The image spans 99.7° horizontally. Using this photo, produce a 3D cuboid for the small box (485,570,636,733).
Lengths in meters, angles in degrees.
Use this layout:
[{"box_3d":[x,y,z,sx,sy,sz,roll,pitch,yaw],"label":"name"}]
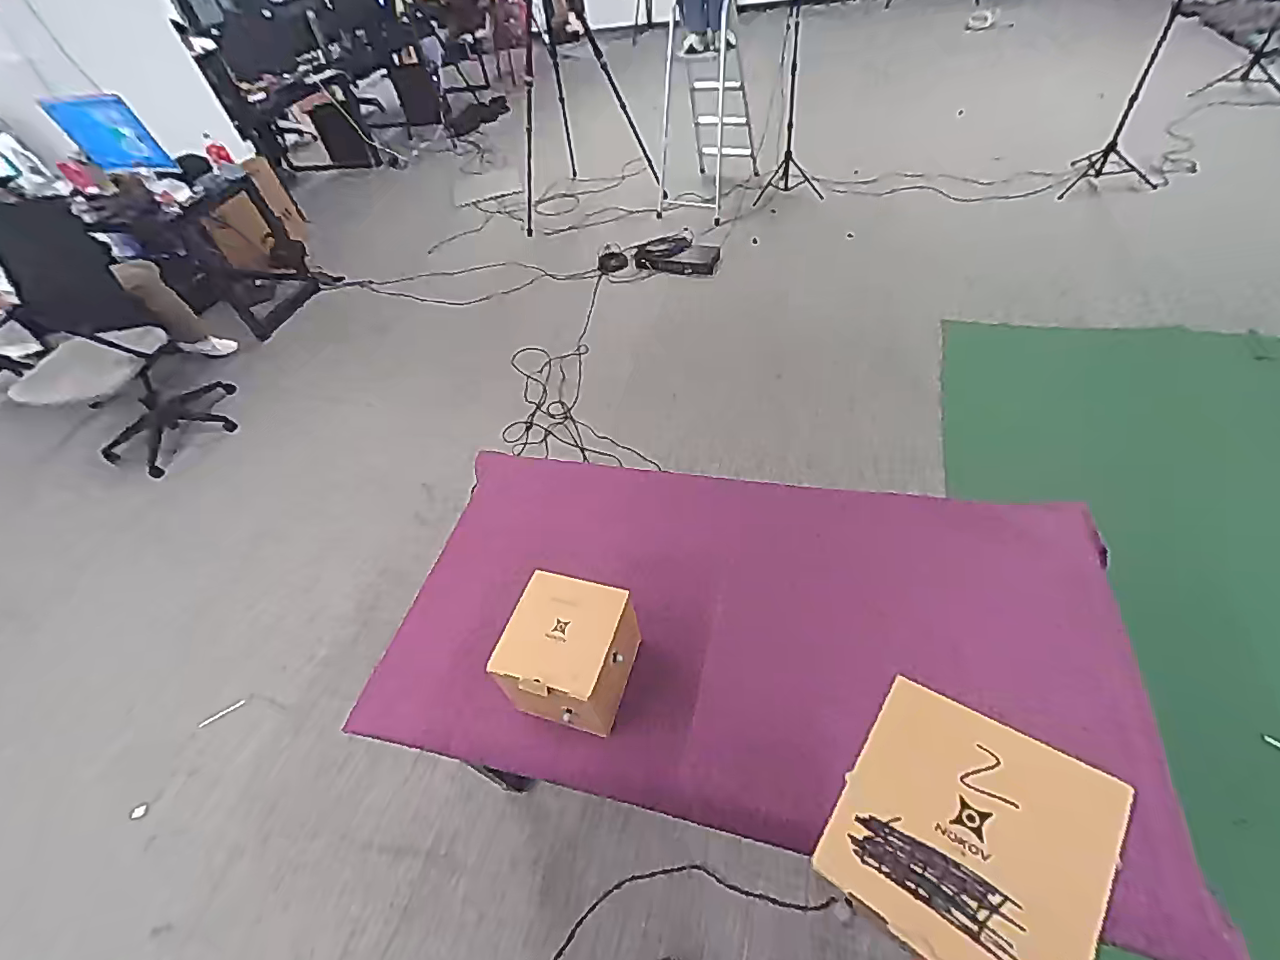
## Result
[{"box_3d":[-0.112,0.276,0.864,0.168,0.176,0.179,10,50,17],"label":"small box"}]
